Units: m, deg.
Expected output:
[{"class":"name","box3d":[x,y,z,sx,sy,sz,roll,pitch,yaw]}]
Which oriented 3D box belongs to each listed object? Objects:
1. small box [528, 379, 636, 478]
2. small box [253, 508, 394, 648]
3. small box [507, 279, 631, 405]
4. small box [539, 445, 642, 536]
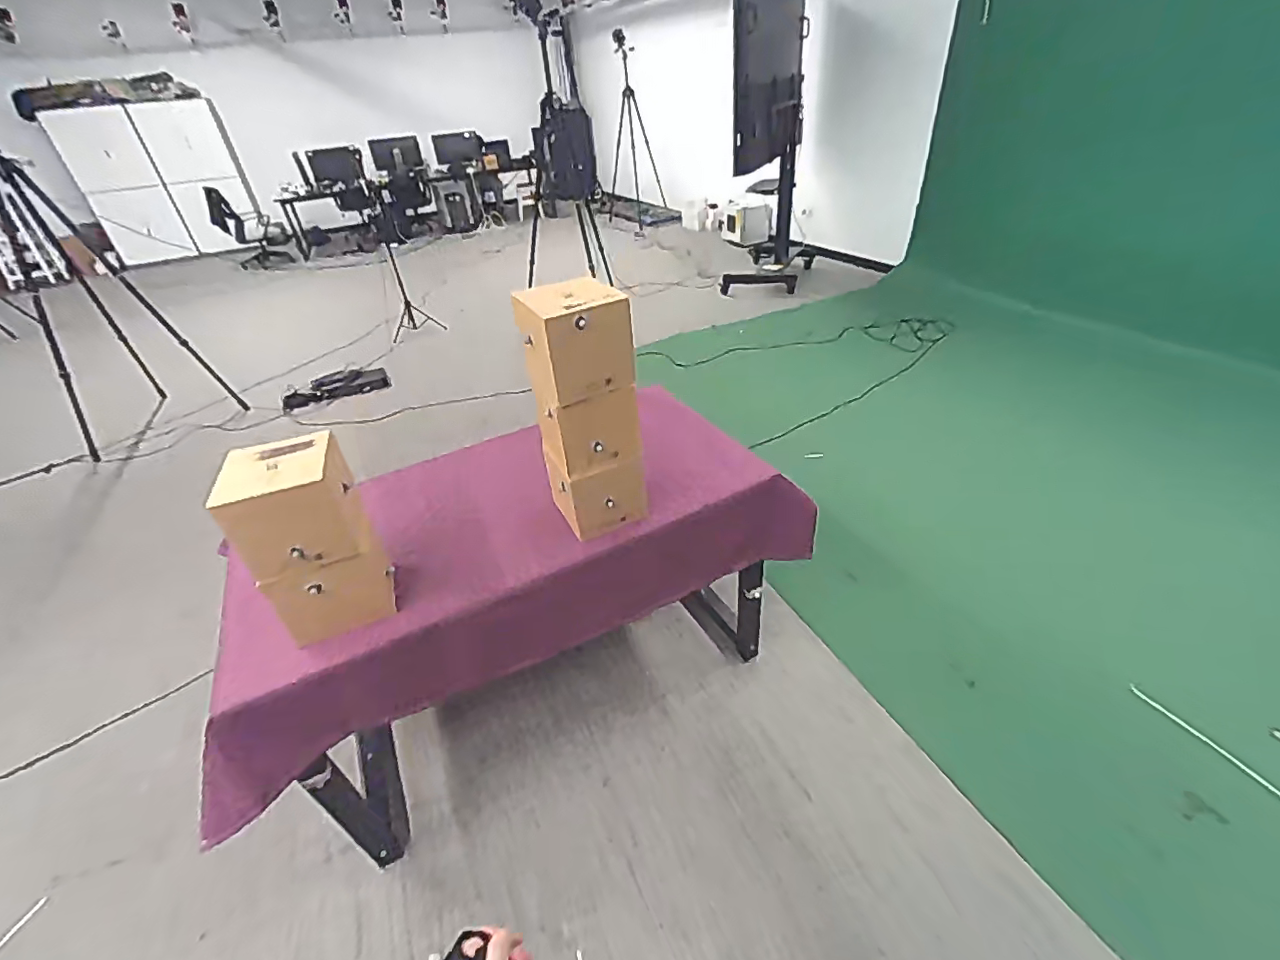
[{"class":"small box","box3d":[-0.119,-0.131,1.119,0.168,0.176,0.179,-20,39,-19]},{"class":"small box","box3d":[-0.591,0.186,1.028,0.179,0.176,0.168,-18,38,-18]},{"class":"small box","box3d":[-0.131,-0.262,1.019,0.168,0.176,0.179,-23,39,-21]},{"class":"small box","box3d":[-0.107,0.005,1.207,0.168,0.176,0.179,-20,38,-19]}]
